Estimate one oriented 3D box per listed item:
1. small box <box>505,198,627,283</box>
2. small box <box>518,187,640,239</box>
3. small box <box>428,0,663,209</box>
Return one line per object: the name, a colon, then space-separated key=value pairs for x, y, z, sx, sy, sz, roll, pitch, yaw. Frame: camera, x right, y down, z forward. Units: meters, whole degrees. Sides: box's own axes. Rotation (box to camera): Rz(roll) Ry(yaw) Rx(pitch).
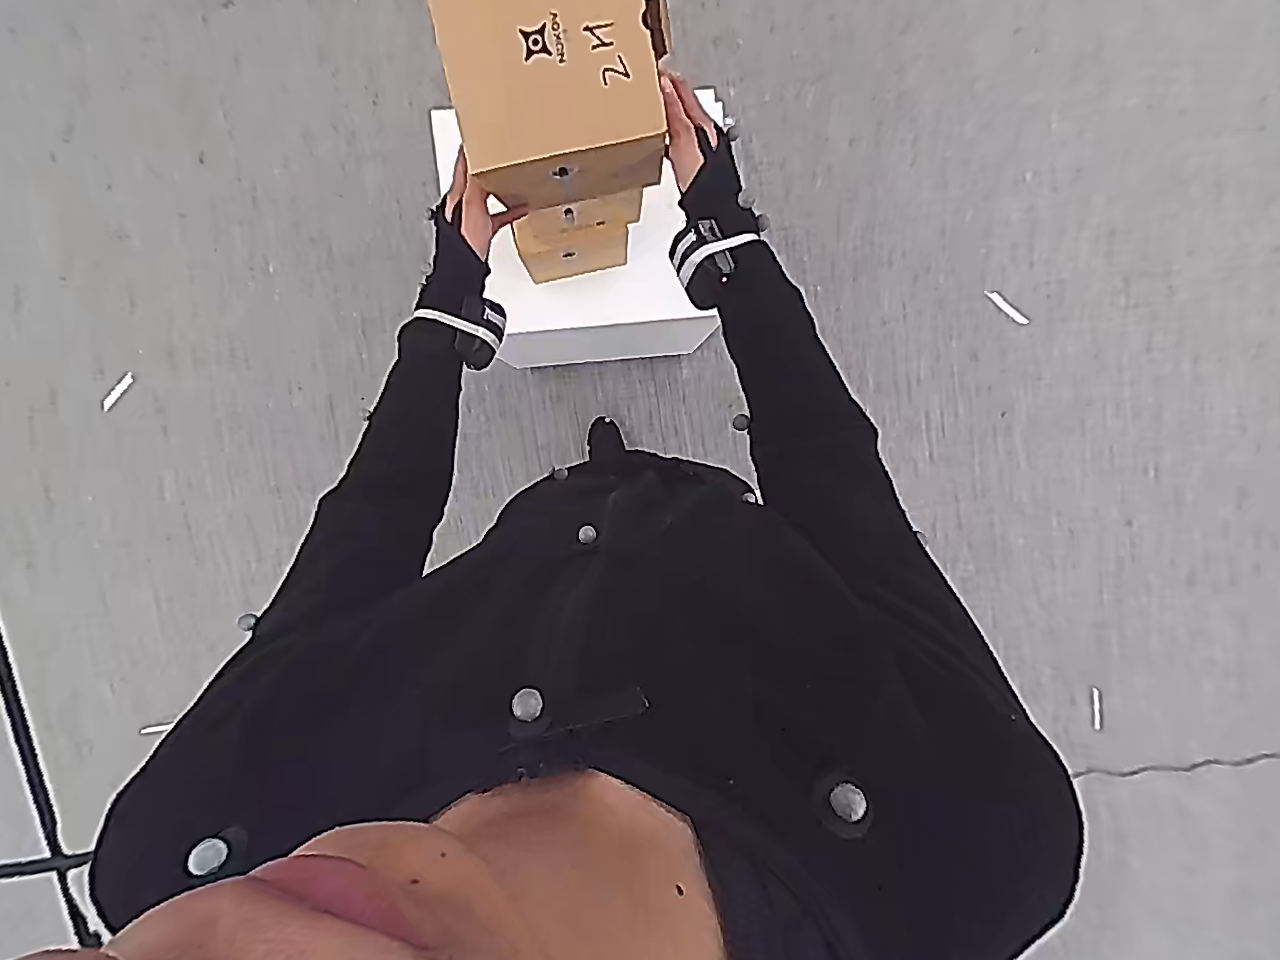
small box: x=-0.122 y=-0.444 z=0.903 sx=0.179 sy=0.176 sz=0.168 roll=-13 pitch=96 yaw=-2
small box: x=-0.093 y=-0.449 z=0.740 sx=0.168 sy=0.176 sz=0.179 roll=-12 pitch=95 yaw=-1
small box: x=-0.077 y=-0.377 z=0.519 sx=0.179 sy=0.176 sz=0.168 roll=-10 pitch=105 yaw=3
